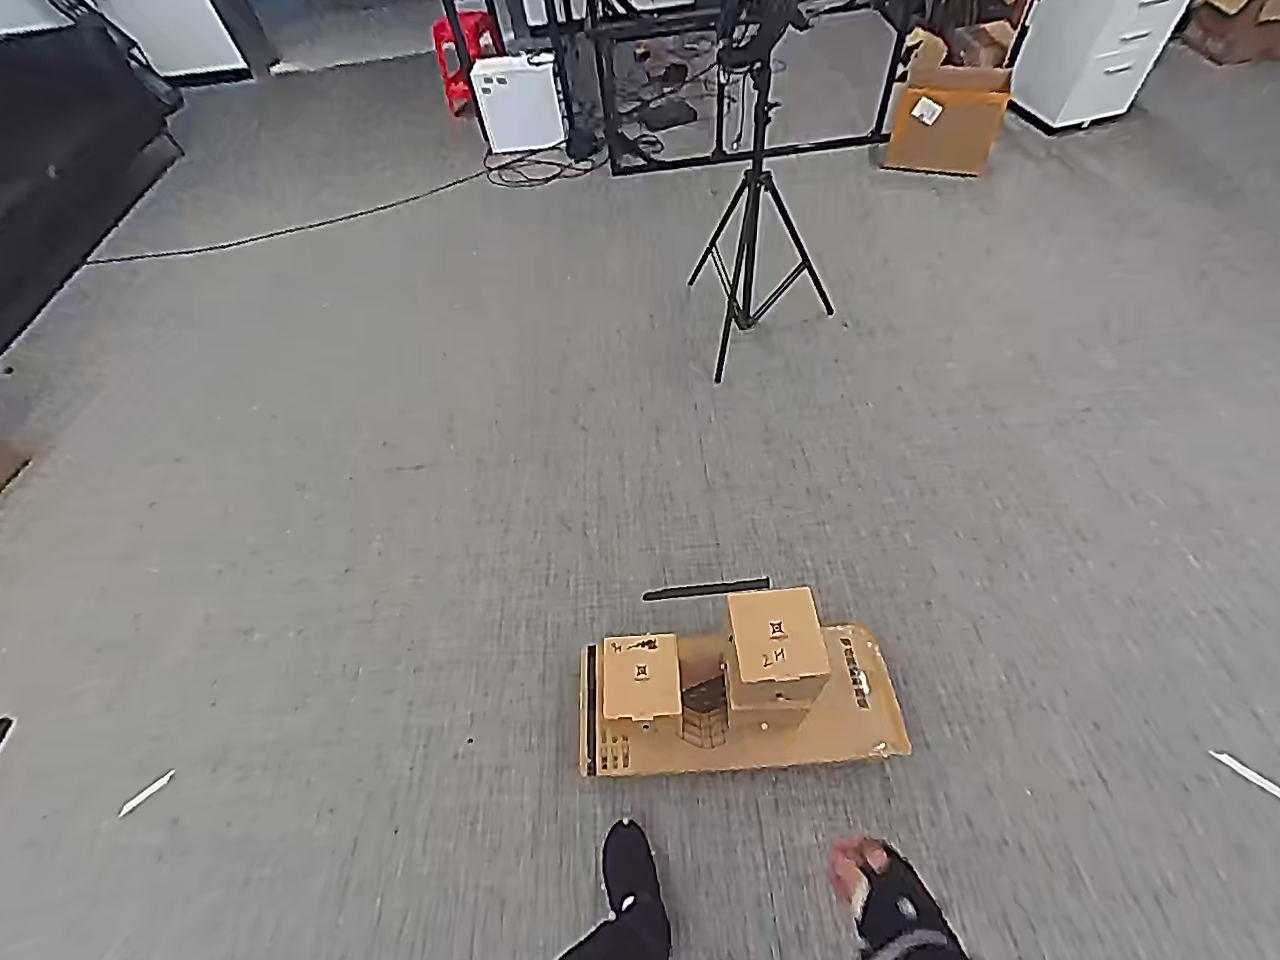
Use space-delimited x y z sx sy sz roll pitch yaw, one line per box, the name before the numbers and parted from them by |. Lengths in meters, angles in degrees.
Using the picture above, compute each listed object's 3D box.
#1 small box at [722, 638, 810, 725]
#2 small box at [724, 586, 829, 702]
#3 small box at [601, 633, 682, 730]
small box | 0.275 0.442 1.221 0.168 0.176 0.179 -3 55 5
small box | 0.264 0.334 1.095 0.168 0.176 0.179 -6 54 2
small box | 0.006 0.464 1.232 0.168 0.176 0.179 -5 56 4
